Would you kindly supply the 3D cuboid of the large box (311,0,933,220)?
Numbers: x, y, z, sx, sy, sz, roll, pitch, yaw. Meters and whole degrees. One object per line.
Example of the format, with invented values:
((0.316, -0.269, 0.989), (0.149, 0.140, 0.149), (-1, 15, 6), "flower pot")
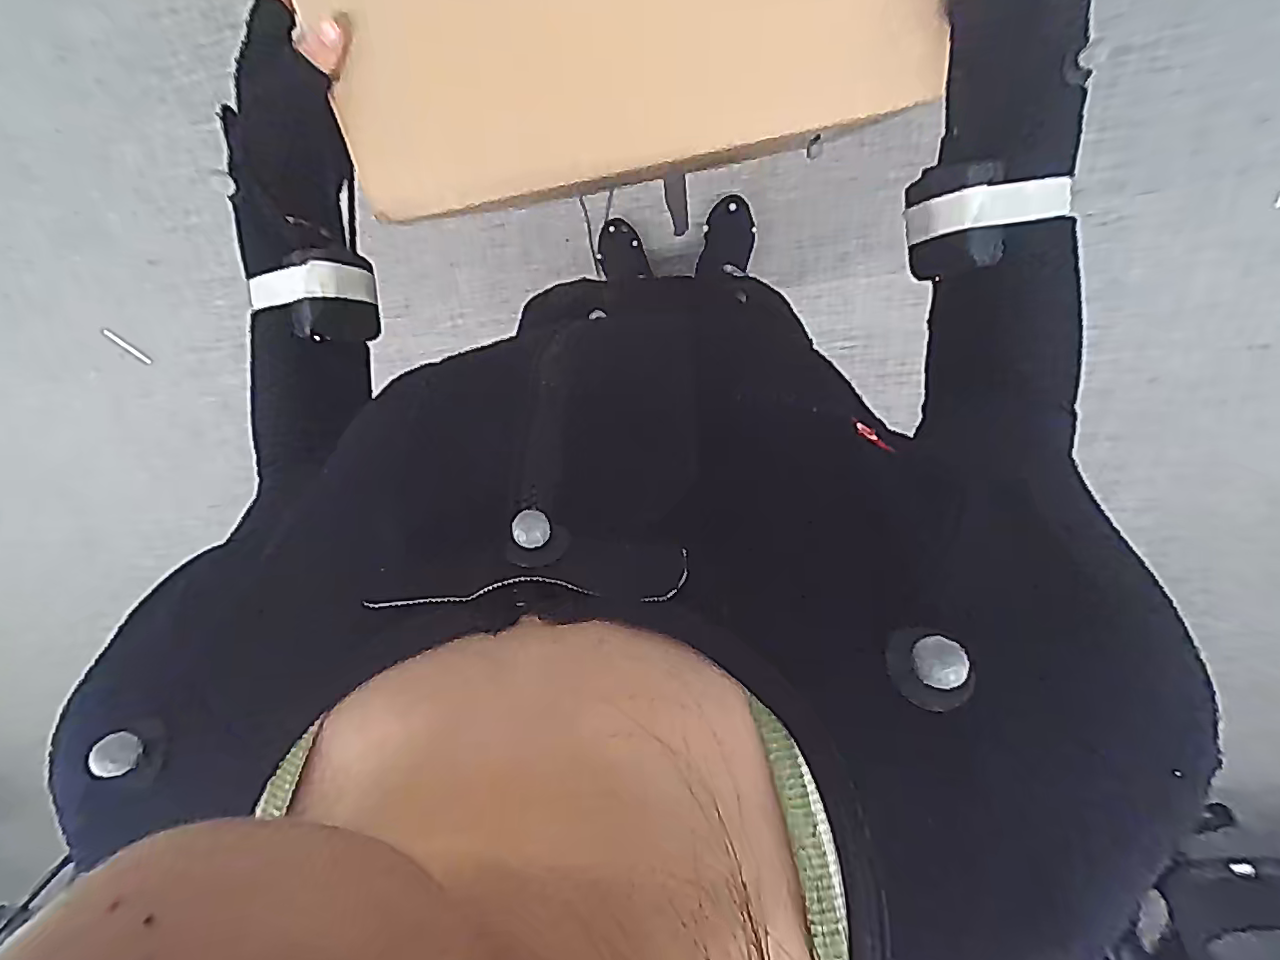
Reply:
((-0.014, -0.433, 0.452), (0.408, 0.320, 0.320), (-6, 117, 10), "large box")
